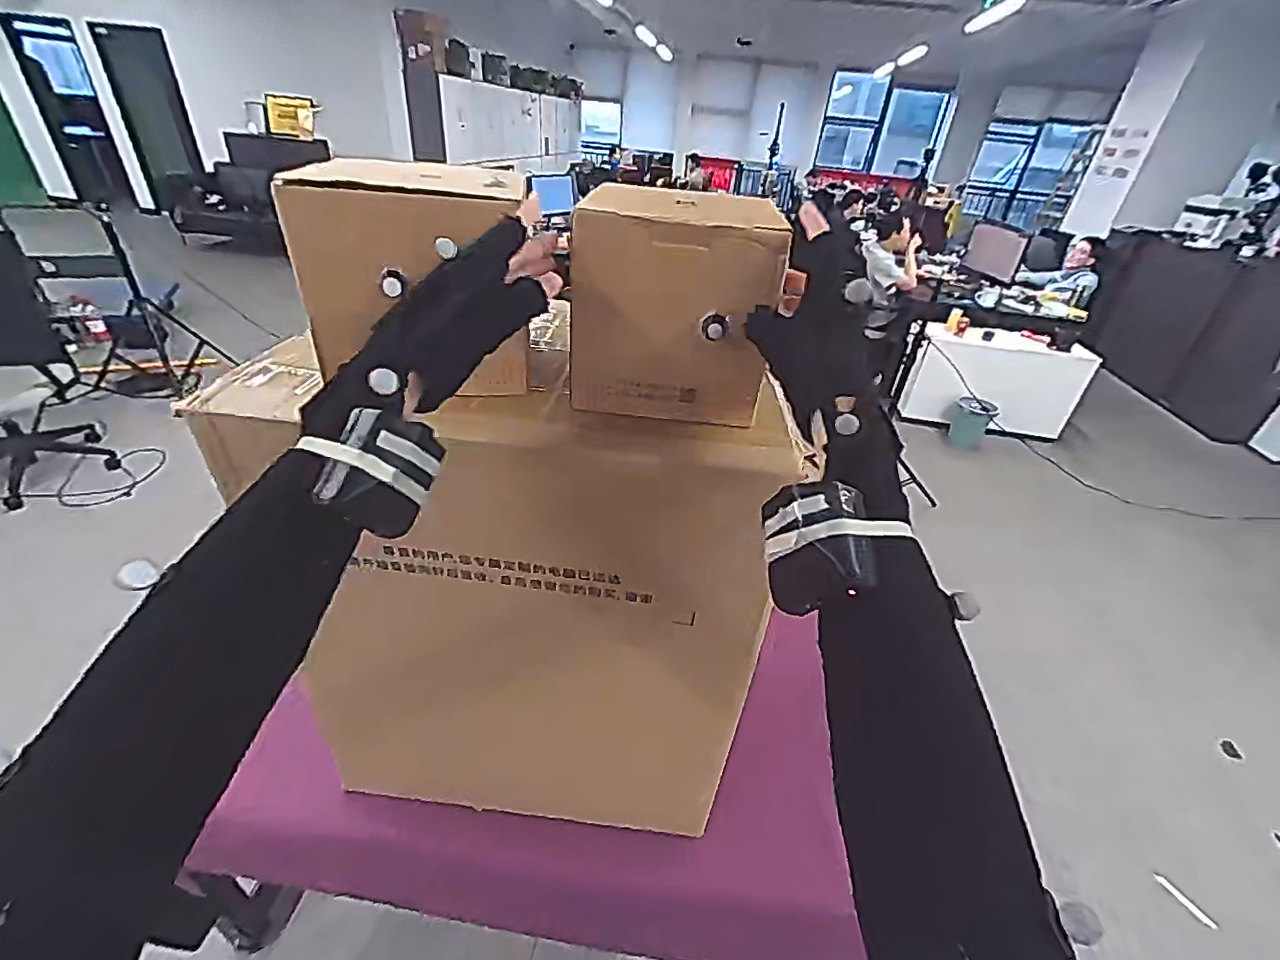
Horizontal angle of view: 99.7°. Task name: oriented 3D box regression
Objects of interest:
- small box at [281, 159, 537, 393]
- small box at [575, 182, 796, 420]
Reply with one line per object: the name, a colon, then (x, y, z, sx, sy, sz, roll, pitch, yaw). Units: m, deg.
small box: (-0.188, -0.190, 0.504, 0.179, 0.176, 0.168, 0, 35, -11)
small box: (0.035, -0.170, 0.506, 0.168, 0.176, 0.179, 8, 32, 1)
